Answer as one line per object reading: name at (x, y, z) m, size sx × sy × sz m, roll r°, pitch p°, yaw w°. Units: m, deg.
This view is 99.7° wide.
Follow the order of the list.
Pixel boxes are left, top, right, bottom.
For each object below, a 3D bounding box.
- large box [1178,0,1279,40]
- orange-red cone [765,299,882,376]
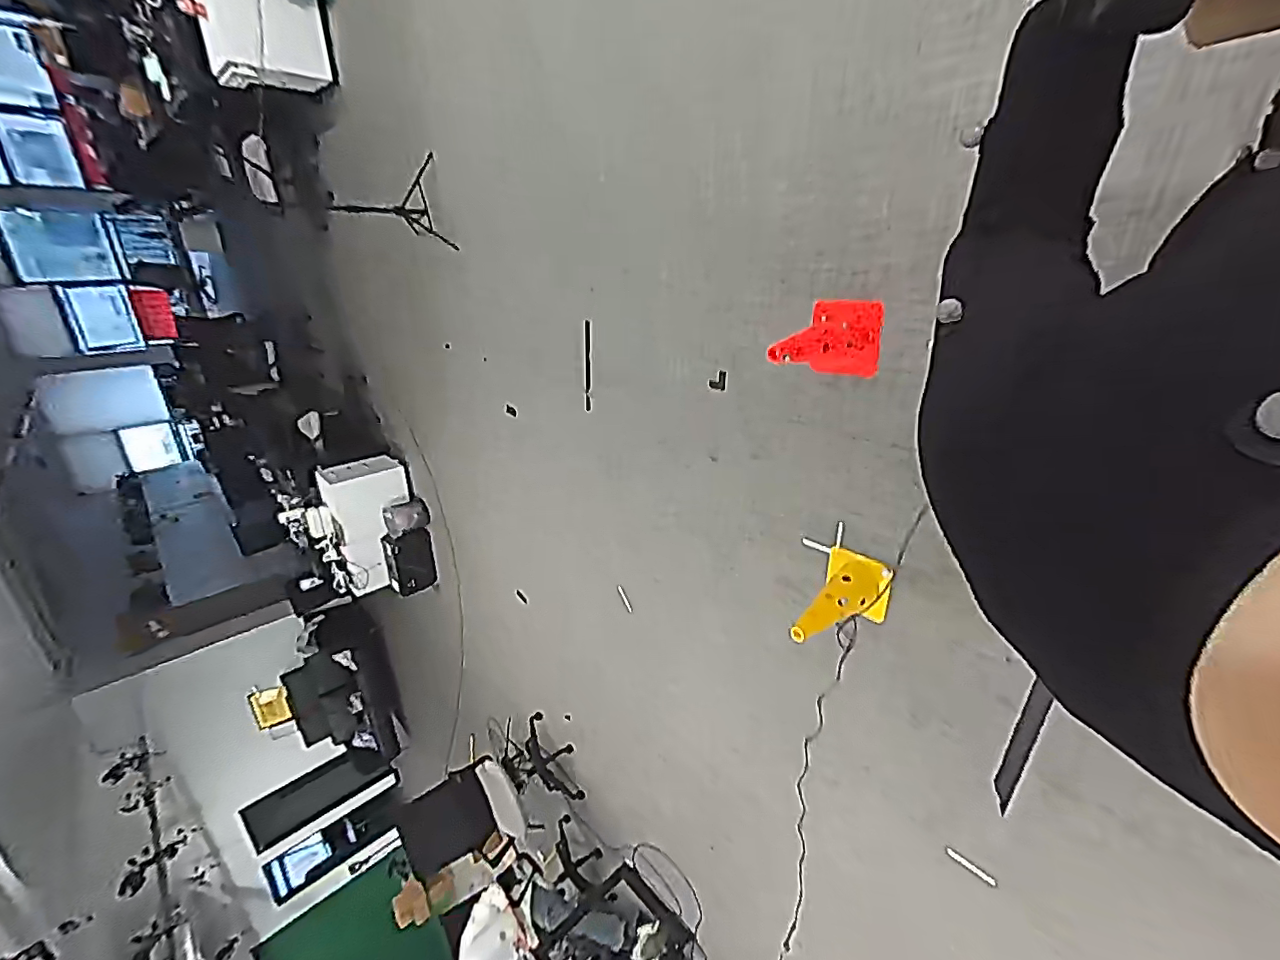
large box at (0.537, -0.467, 0.229) m, size 0.408 × 0.320 × 0.320 m, roll 16°, pitch 121°, yaw 42°
orange-red cone at (0.444, -0.346, 1.396) m, size 0.198 × 0.360 × 0.199 m, roll 21°, pitch 122°, yaw 43°
